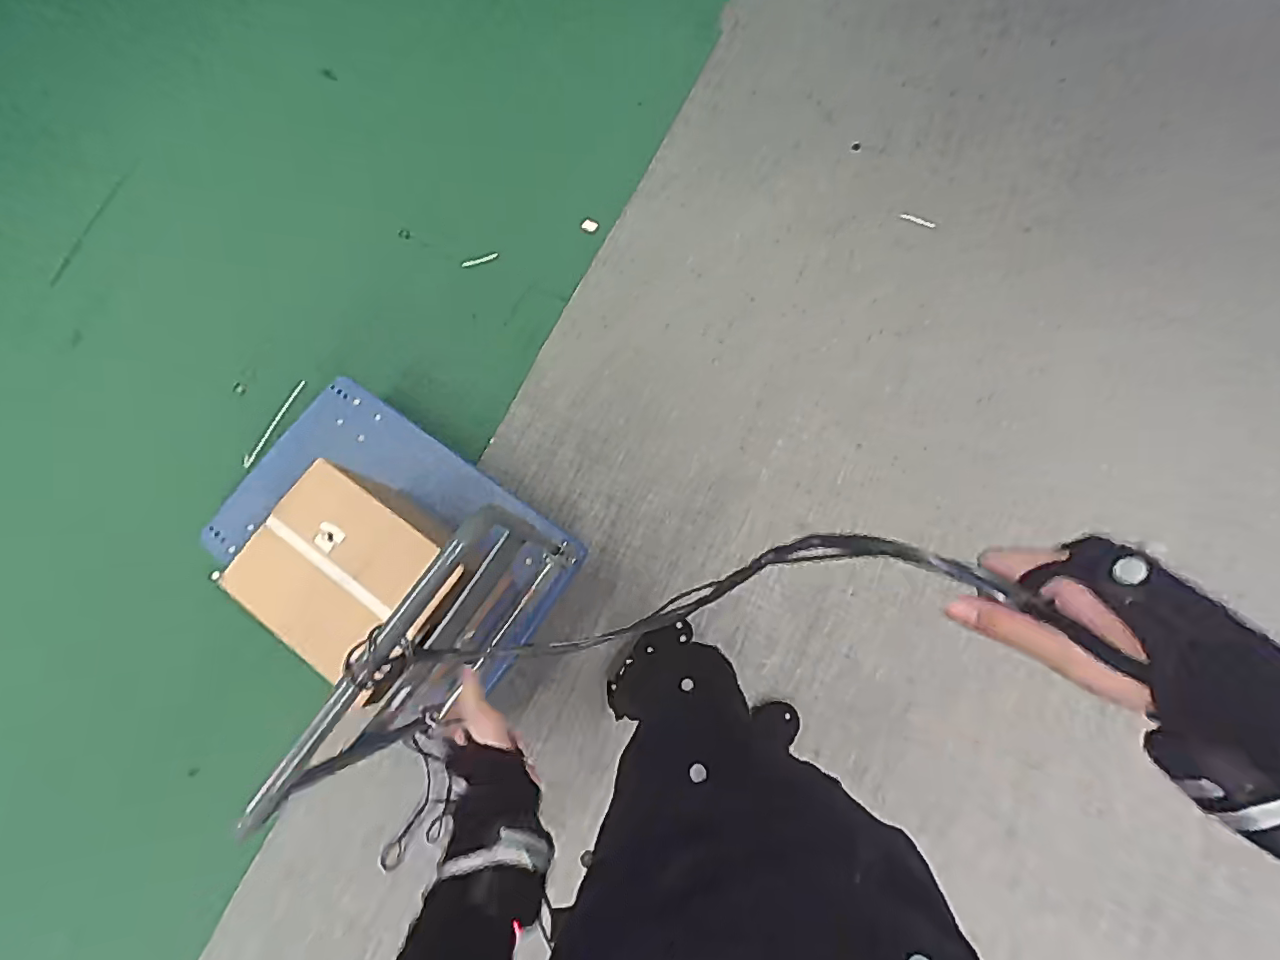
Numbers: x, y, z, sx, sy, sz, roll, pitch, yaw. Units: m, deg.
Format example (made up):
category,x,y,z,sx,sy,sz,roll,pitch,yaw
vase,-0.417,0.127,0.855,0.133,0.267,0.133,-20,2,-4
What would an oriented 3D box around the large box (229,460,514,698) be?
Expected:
category,x,y,z,sx,sy,sz,roll,pitch,yaw
large box,-0.563,0.217,1.207,0.408,0.320,0.320,34,81,12
